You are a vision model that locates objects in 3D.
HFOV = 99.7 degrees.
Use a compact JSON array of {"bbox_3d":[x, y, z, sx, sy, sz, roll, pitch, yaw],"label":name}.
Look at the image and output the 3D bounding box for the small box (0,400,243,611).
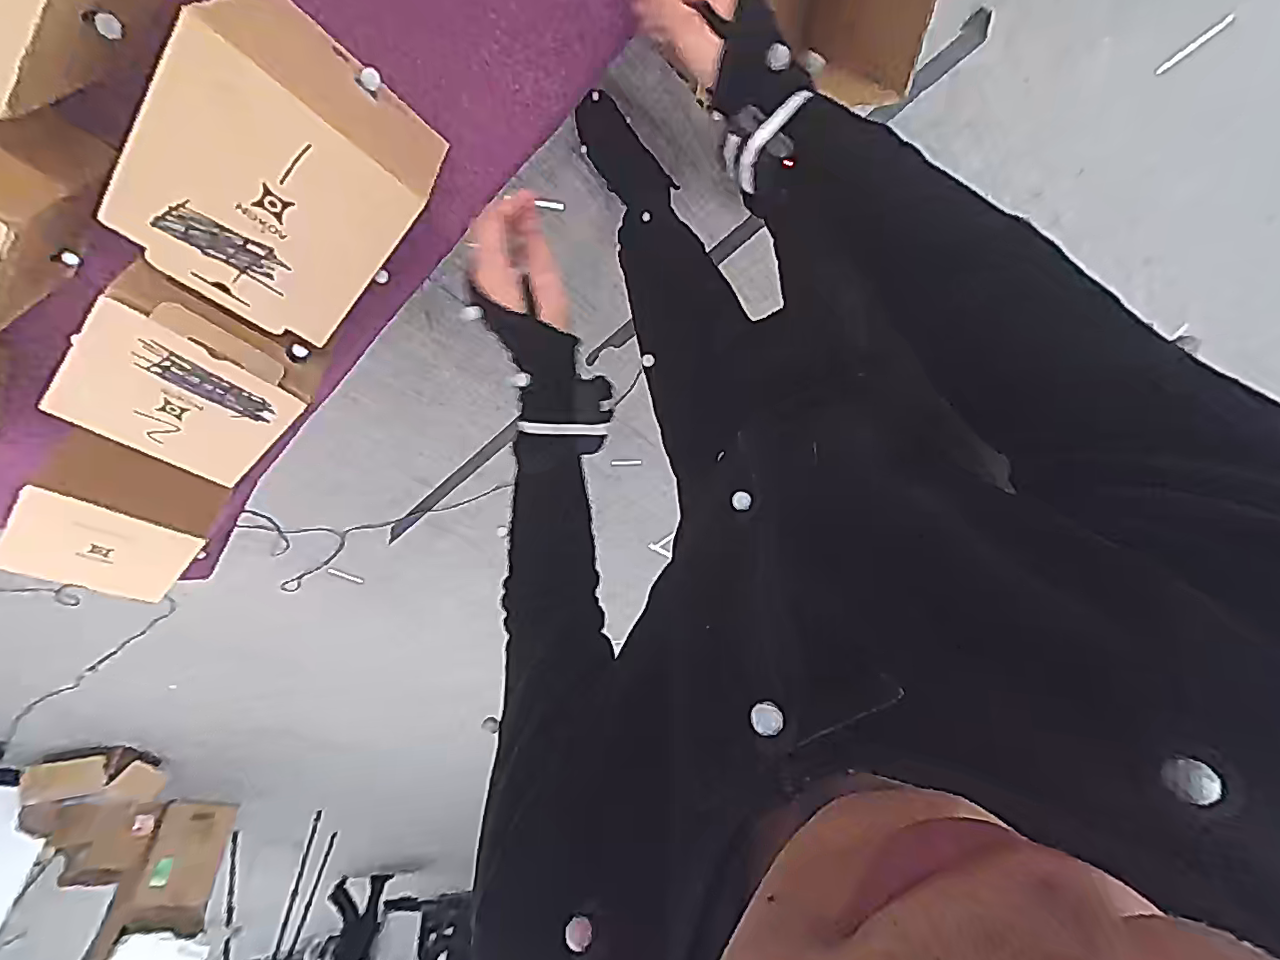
[{"bbox_3d":[-0.651,0.035,0.690,0.179,0.176,0.168,-37,132,24],"label":"small box"}]
